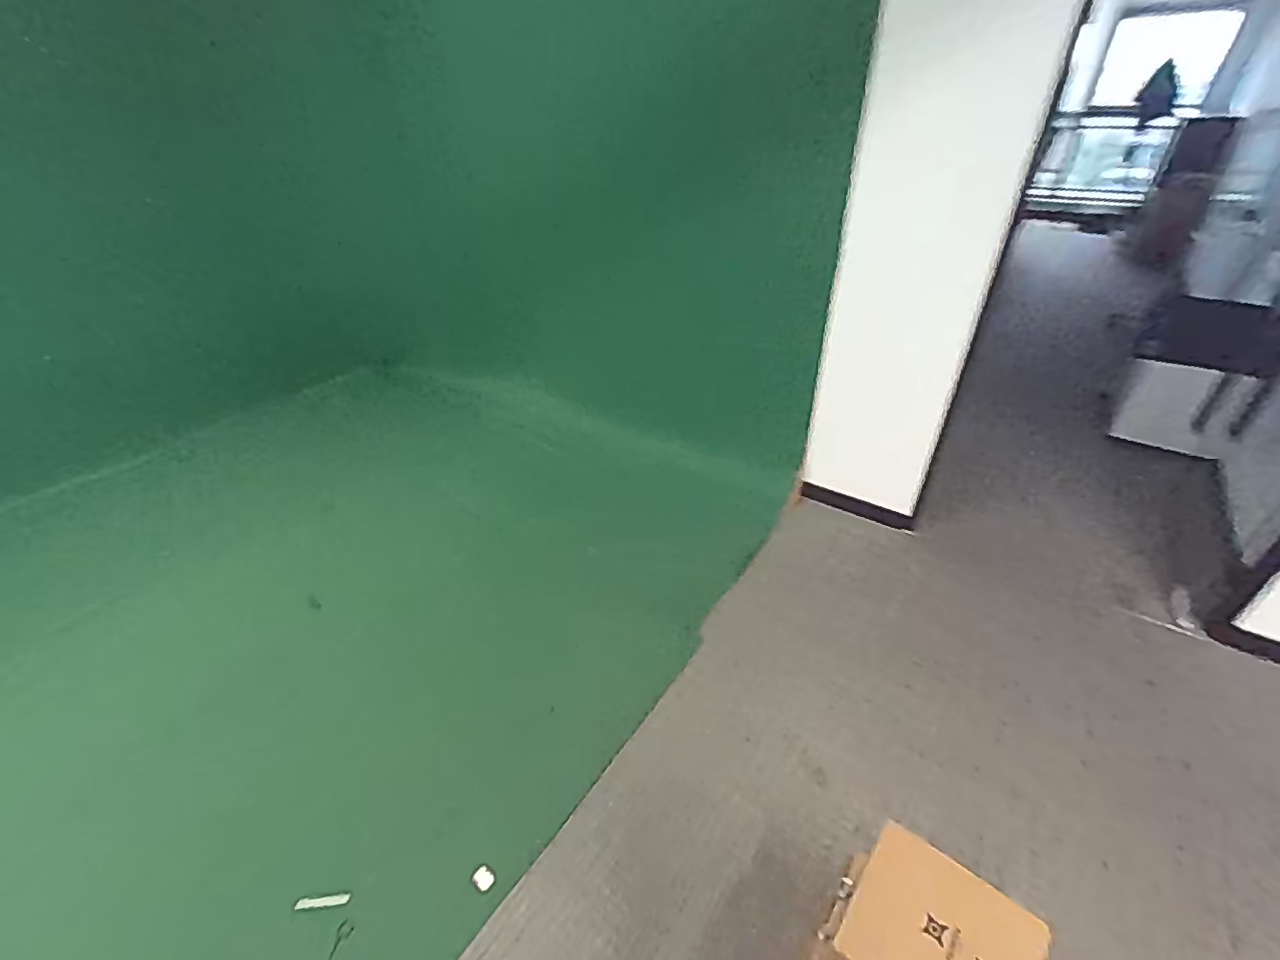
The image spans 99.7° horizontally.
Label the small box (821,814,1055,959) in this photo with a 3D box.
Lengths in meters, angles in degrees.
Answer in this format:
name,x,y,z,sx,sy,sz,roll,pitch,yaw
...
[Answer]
name,x,y,z,sx,sy,sz,roll,pitch,yaw
small box,0.324,0.541,0.615,0.179,0.176,0.168,25,44,34
